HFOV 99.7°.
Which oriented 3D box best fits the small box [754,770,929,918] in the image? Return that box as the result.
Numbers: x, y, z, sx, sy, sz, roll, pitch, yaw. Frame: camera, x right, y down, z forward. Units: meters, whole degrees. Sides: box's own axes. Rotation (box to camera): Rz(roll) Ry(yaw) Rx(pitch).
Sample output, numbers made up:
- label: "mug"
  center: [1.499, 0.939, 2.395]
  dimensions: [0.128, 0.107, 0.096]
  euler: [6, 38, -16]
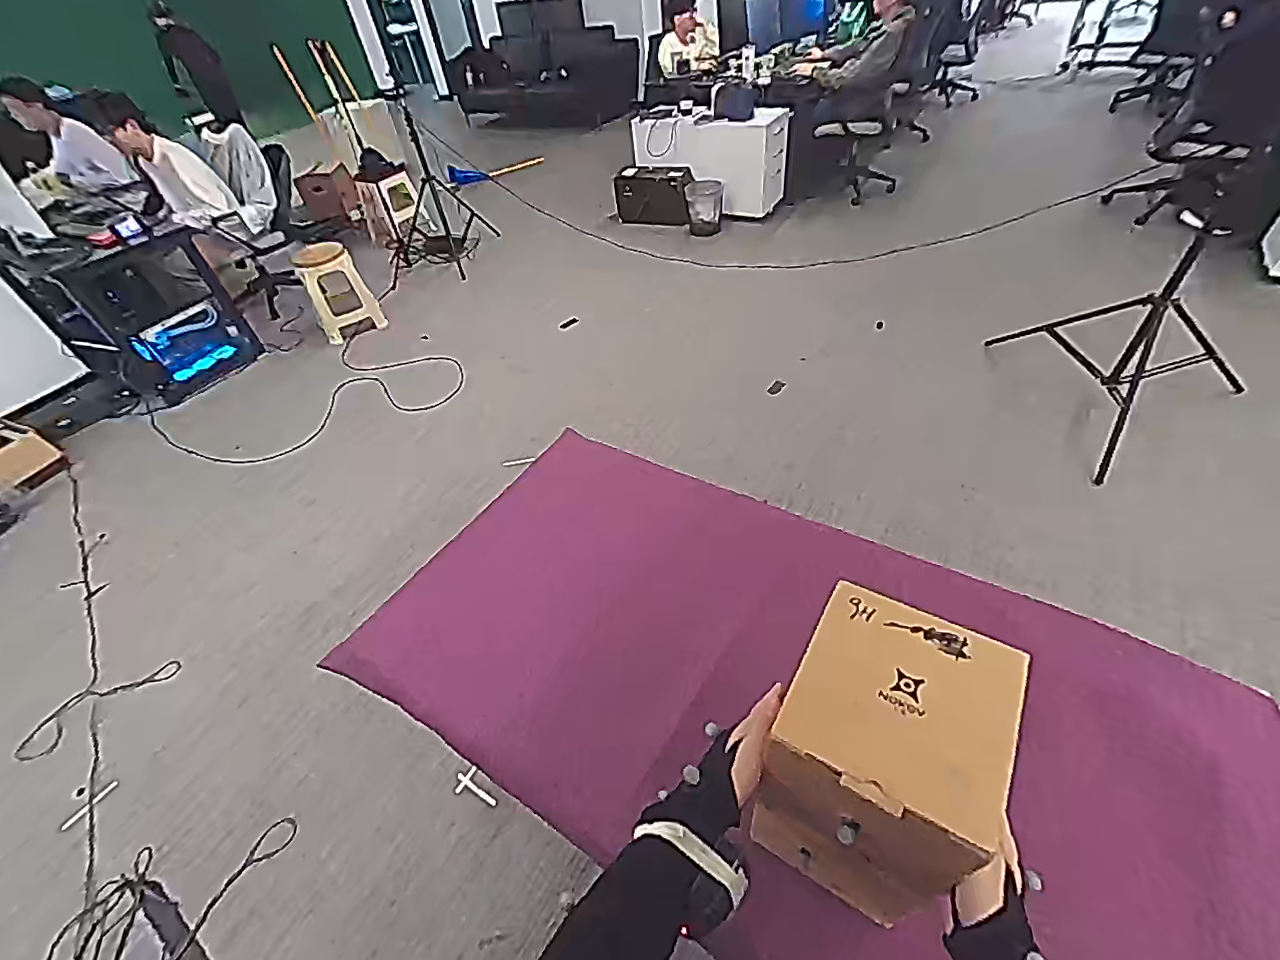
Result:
- label: "small box"
  center: [0.241, 0.353, 0.618]
  dimensions: [0.168, 0.176, 0.179]
  euler: [21, 51, 27]

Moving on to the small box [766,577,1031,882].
- label: "small box"
  center: [0.227, 0.232, 0.507]
  dimensions: [0.168, 0.176, 0.179]
  euler: [22, 52, 26]
